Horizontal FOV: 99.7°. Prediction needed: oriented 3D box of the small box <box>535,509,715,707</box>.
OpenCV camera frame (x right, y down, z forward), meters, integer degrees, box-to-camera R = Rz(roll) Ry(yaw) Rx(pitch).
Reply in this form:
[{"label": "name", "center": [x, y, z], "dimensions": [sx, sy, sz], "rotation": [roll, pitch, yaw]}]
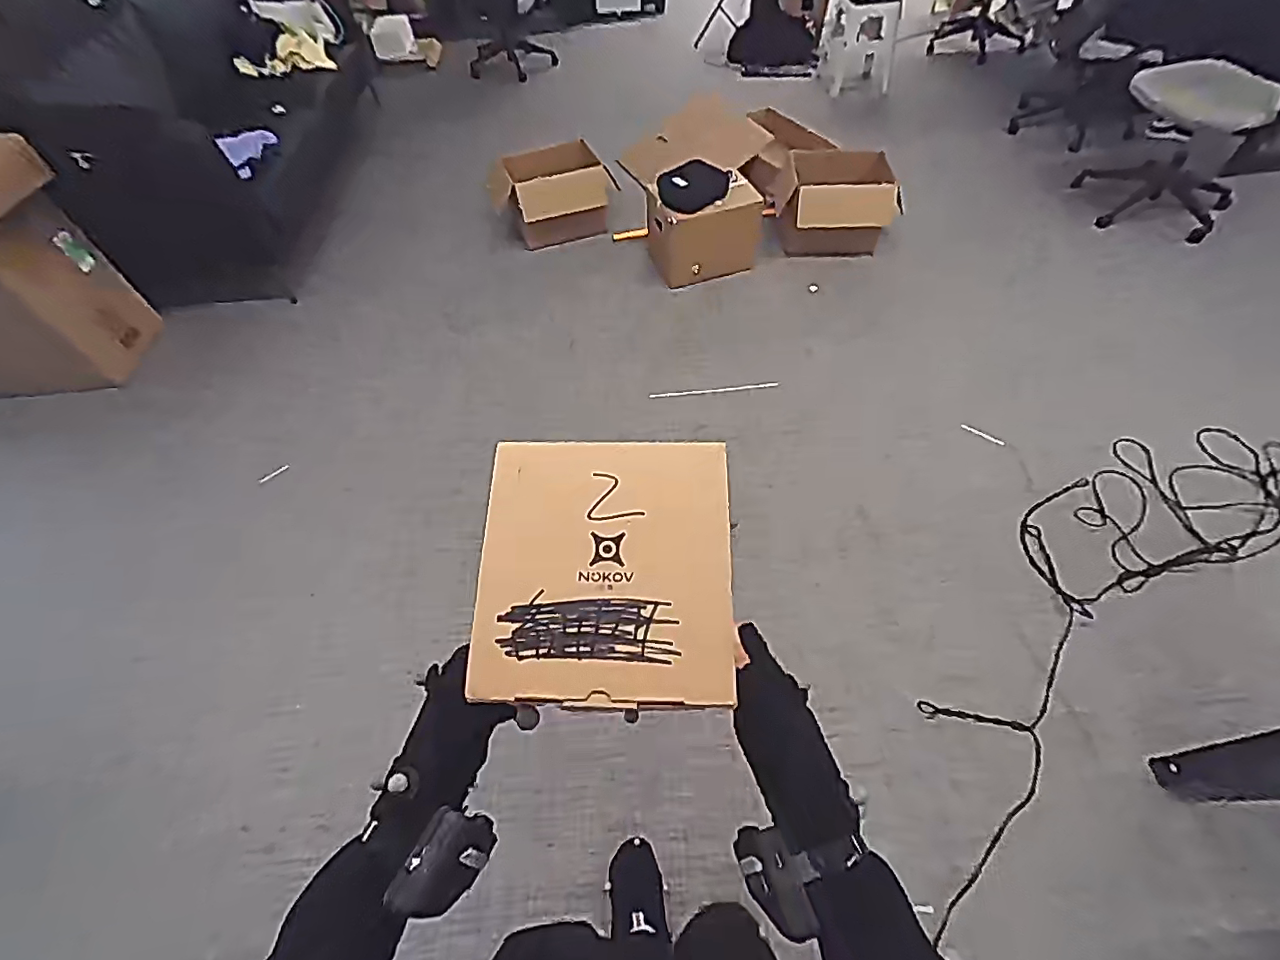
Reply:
[{"label": "small box", "center": [-0.010, 0.145, 0.593], "dimensions": [0.168, 0.176, 0.179], "rotation": [-1, 62, 2]}]
